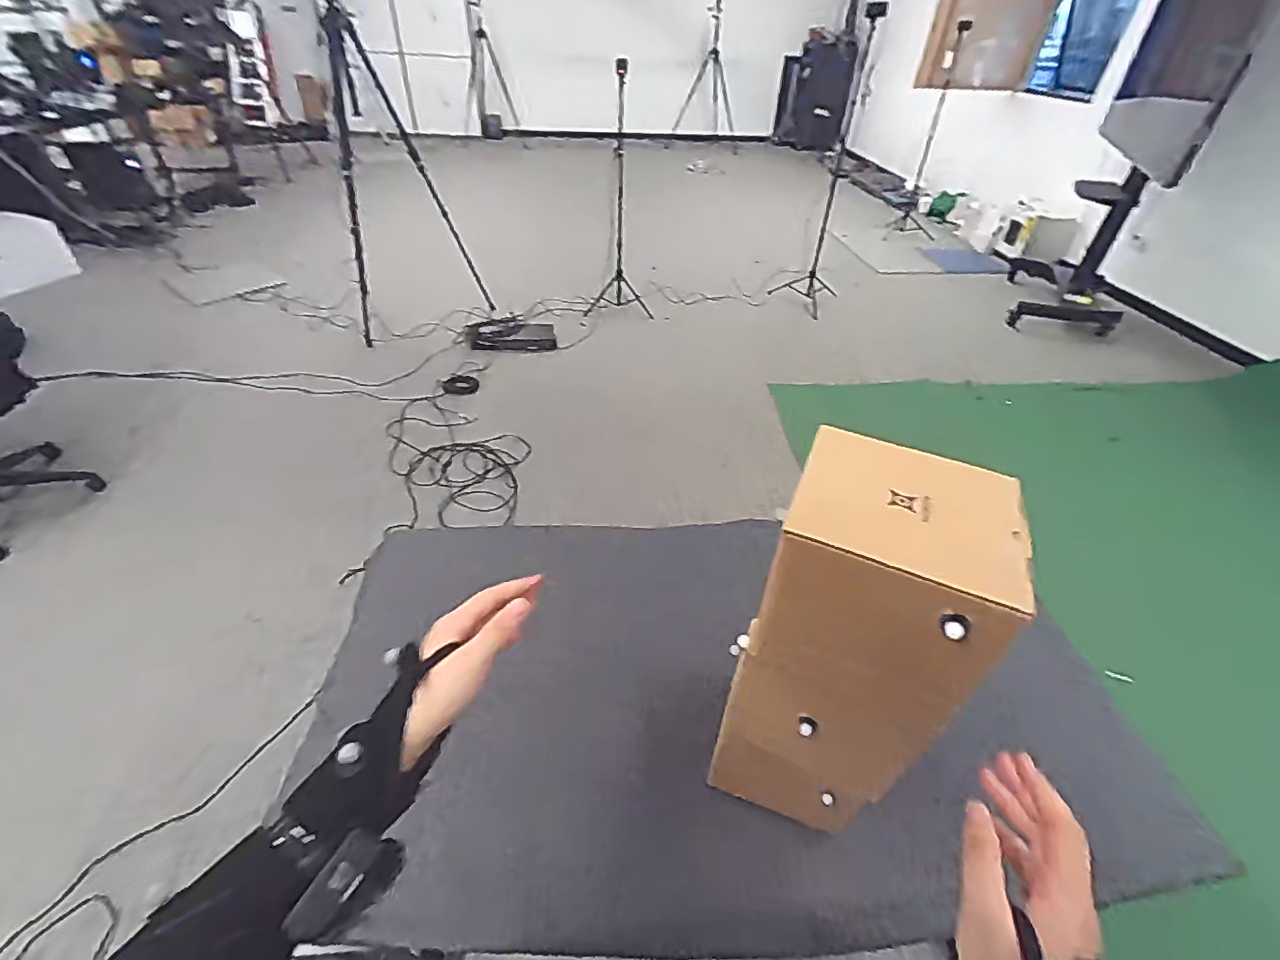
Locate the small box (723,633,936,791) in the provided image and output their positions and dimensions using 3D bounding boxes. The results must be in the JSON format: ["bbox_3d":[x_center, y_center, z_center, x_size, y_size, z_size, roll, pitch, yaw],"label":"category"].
[{"bbox_3d":[0.208,0.206,0.595,0.179,0.176,0.168,20,43,19],"label":"small box"}]

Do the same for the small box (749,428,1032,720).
[{"bbox_3d":[0.212,0.082,0.490,0.179,0.176,0.168,19,42,17],"label":"small box"}]
